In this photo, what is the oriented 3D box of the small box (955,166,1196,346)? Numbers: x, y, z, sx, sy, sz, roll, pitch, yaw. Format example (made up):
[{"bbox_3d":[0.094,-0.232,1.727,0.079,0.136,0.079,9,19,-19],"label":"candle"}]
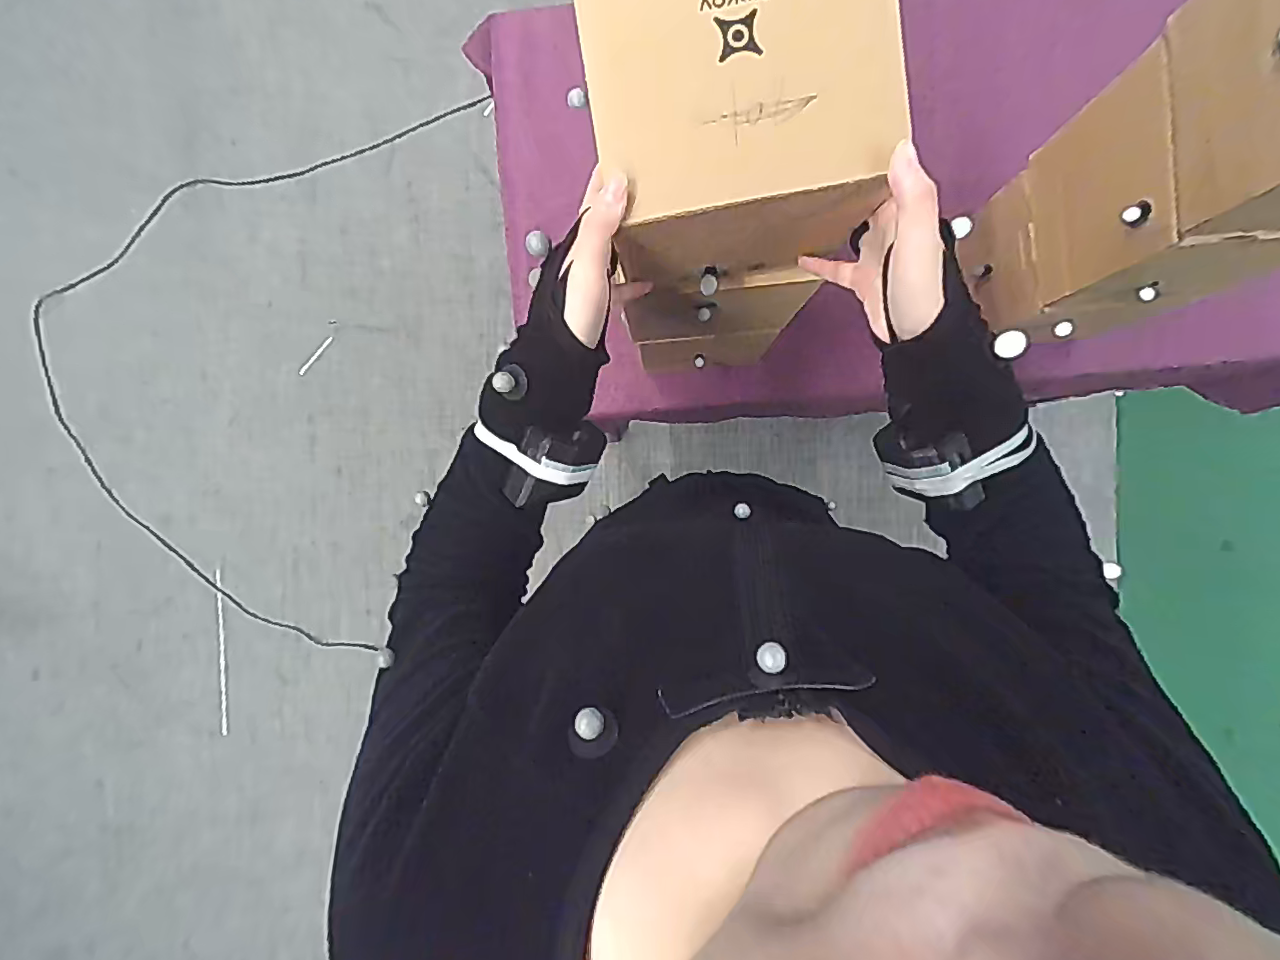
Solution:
[{"bbox_3d":[0.516,-0.272,0.671,0.179,0.176,0.168,-5,90,4],"label":"small box"}]

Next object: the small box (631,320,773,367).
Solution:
[{"bbox_3d":[0.071,-0.248,0.695,0.168,0.176,0.179,-4,89,2],"label":"small box"}]

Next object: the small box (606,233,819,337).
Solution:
[{"bbox_3d":[0.061,-0.245,0.529,0.179,0.176,0.168,-5,92,2],"label":"small box"}]

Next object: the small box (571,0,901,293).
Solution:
[{"bbox_3d":[0.050,-0.244,0.362,0.168,0.176,0.179,-8,96,4],"label":"small box"}]

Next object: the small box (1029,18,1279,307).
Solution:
[{"bbox_3d":[0.503,-0.280,0.508,0.168,0.176,0.179,-4,90,3],"label":"small box"}]
